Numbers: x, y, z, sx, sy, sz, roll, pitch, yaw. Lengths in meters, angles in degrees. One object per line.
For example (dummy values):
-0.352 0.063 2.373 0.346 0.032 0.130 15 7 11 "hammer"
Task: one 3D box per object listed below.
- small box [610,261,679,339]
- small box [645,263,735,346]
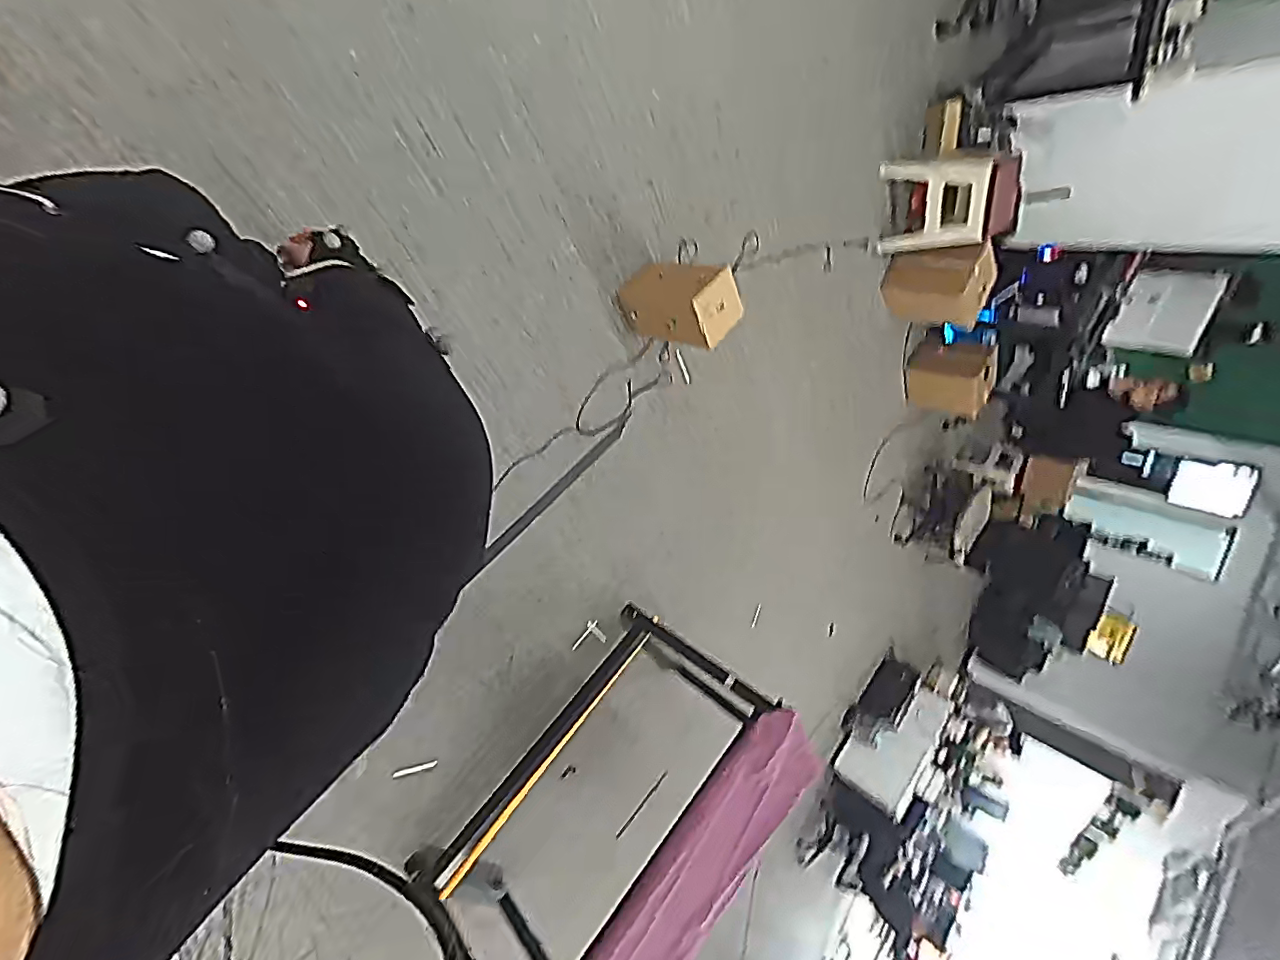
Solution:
0.037 -0.576 1.713 0.179 0.176 0.168 -47 134 -19 "small box"
0.148 -0.525 1.602 0.179 0.176 0.168 -48 134 -18 "small box"
